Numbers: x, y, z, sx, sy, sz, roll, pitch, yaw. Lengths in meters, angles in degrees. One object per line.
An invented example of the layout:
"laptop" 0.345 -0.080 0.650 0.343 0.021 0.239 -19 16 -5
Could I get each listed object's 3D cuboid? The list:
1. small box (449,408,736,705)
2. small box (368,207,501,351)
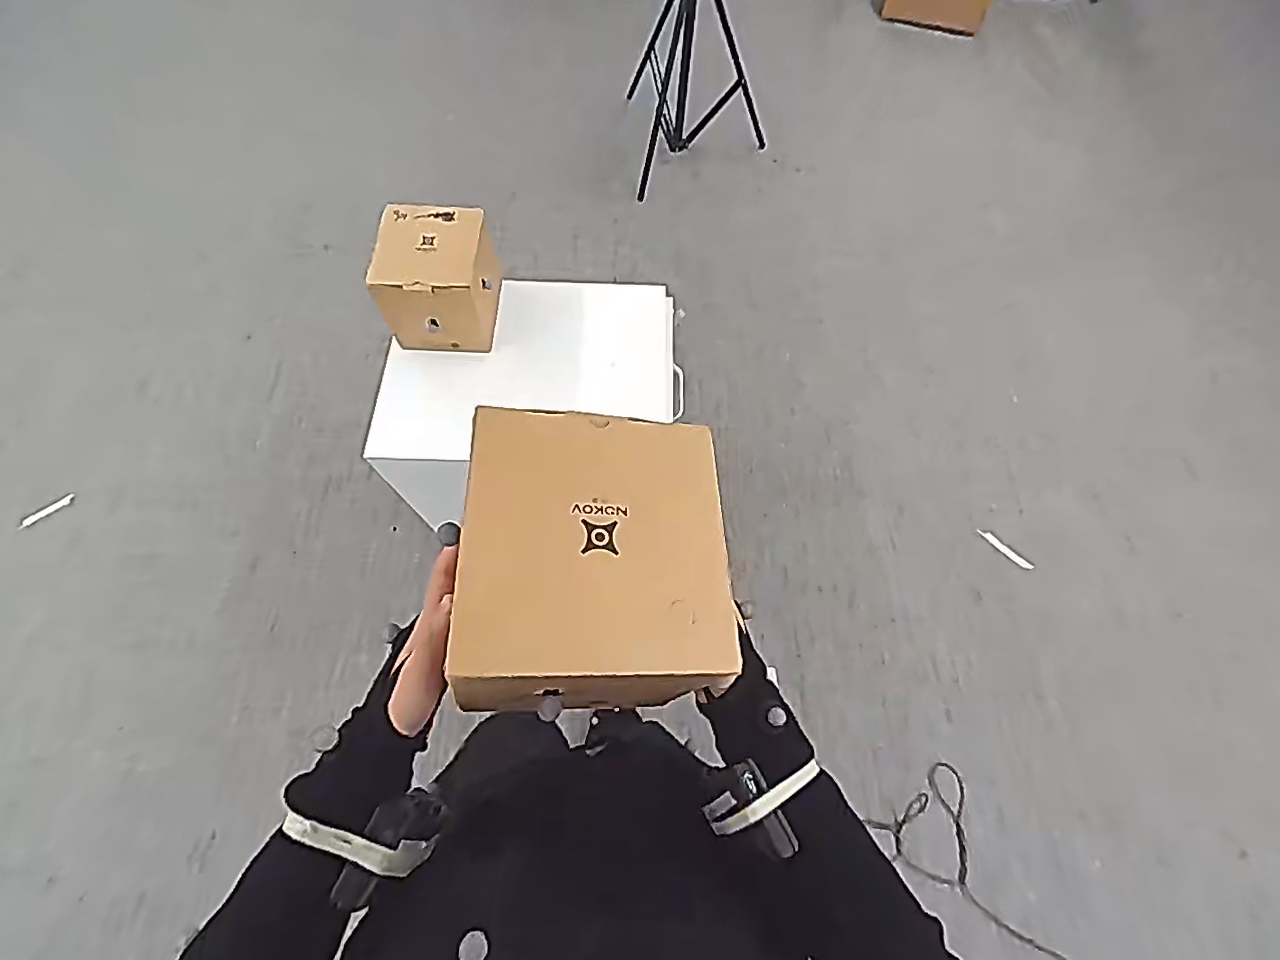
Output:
"small box" -0.043 0.069 0.409 0.168 0.176 0.179 3 60 -13
"small box" -0.347 -0.345 0.950 0.168 0.176 0.179 2 68 -3
